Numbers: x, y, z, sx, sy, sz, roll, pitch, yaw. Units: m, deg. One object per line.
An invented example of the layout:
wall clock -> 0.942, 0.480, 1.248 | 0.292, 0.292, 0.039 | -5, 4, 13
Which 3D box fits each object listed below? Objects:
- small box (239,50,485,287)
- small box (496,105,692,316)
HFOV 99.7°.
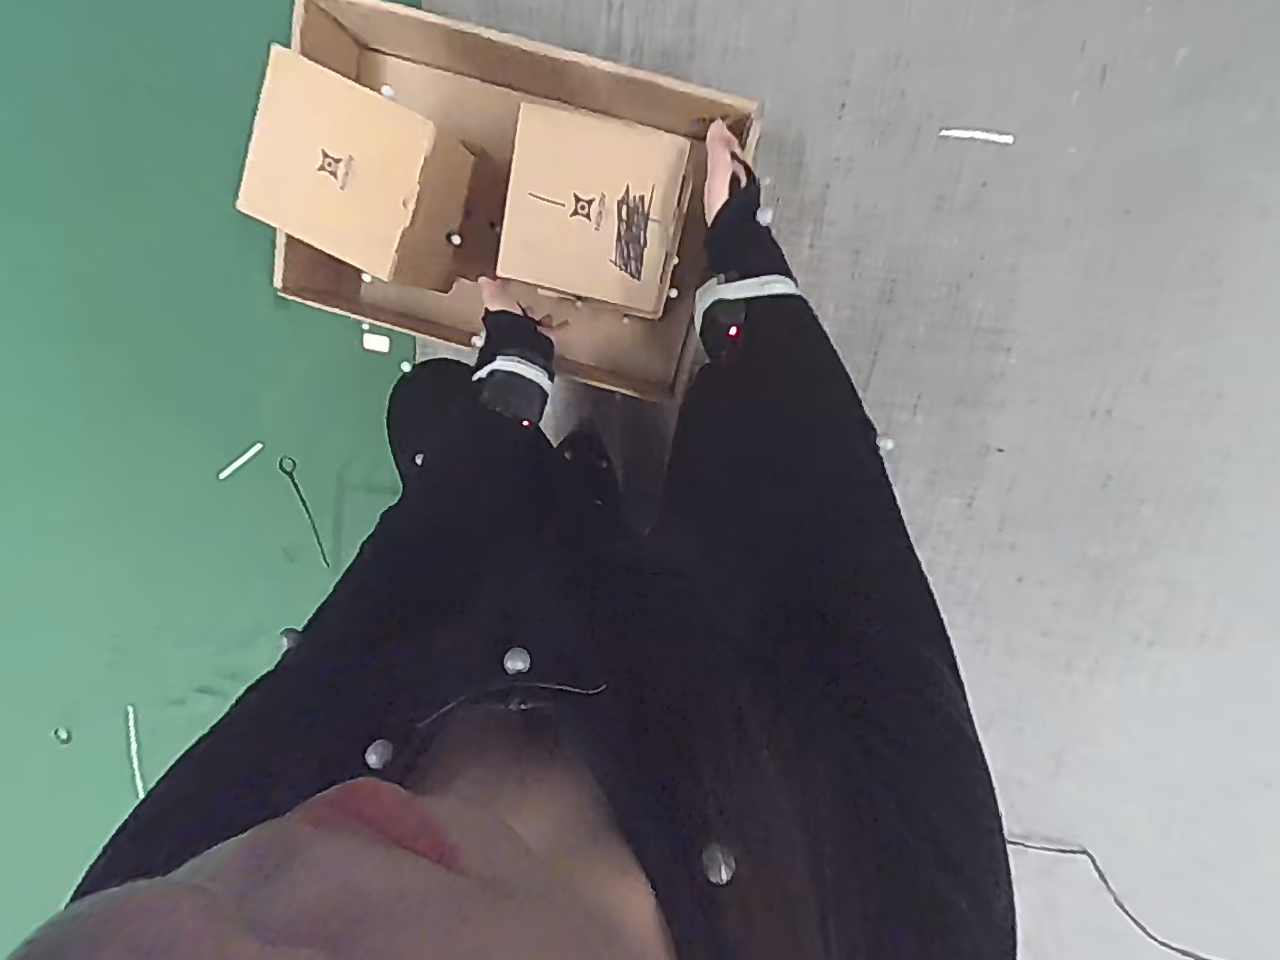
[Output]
small box -> -0.311, -0.341, 0.636 | 0.179, 0.176, 0.168 | 25, 105, -4
small box -> -0.045, -0.291, 0.624 | 0.179, 0.176, 0.168 | 13, 105, 1
